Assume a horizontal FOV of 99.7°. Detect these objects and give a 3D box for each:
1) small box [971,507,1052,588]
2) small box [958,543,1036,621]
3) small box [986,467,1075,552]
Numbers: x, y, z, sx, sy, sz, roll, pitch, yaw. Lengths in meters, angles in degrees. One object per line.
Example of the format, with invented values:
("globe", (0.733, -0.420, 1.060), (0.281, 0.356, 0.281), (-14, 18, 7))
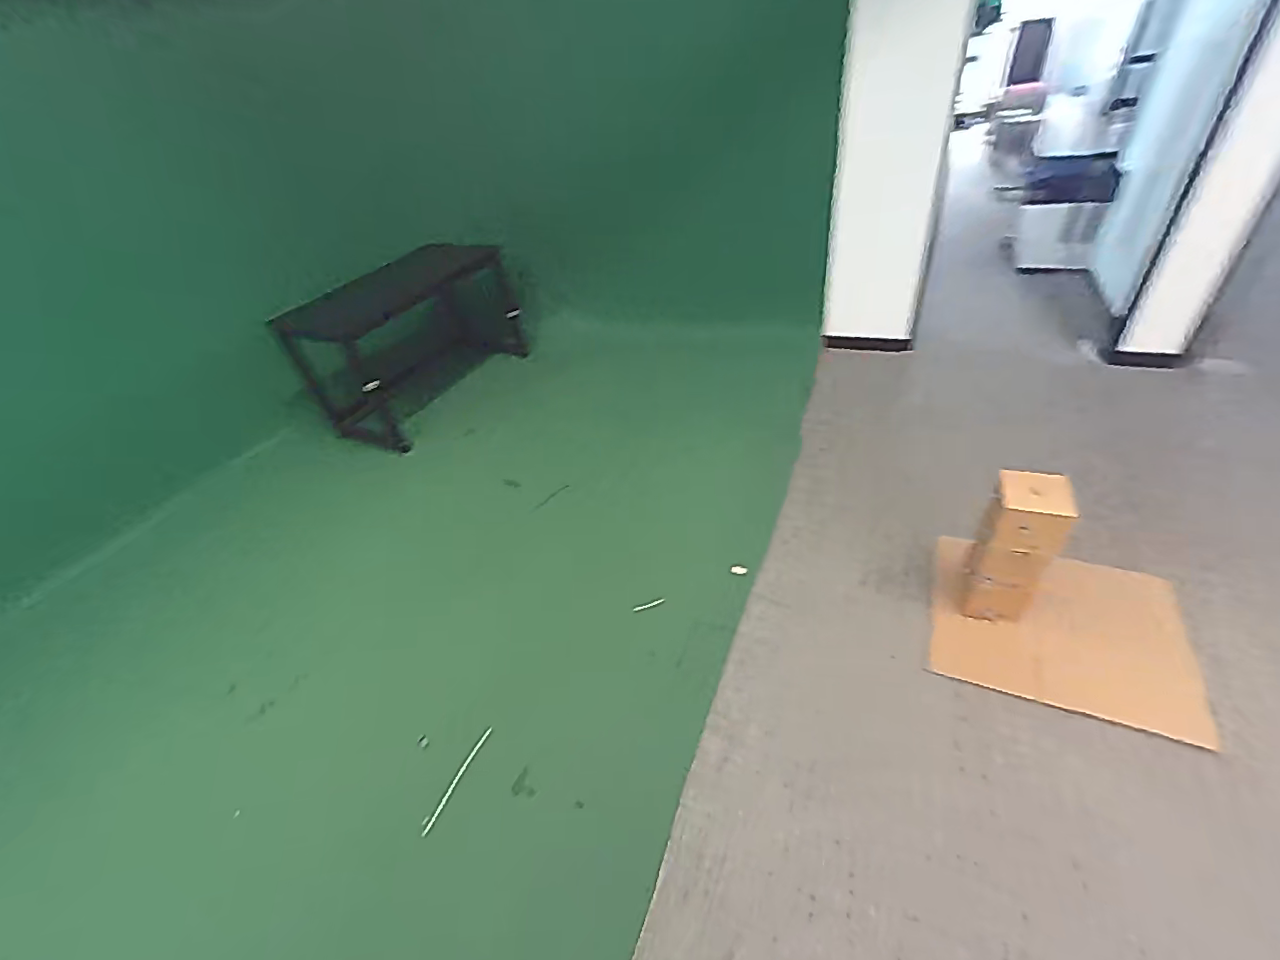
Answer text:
("small box", (1.144, 0.210, 1.677), (0.168, 0.176, 0.179), (7, 42, 20))
("small box", (1.167, 0.334, 1.781), (0.168, 0.176, 0.179), (5, 43, 18))
("small box", (1.126, 0.087, 1.572), (0.168, 0.176, 0.179), (7, 42, 21))
